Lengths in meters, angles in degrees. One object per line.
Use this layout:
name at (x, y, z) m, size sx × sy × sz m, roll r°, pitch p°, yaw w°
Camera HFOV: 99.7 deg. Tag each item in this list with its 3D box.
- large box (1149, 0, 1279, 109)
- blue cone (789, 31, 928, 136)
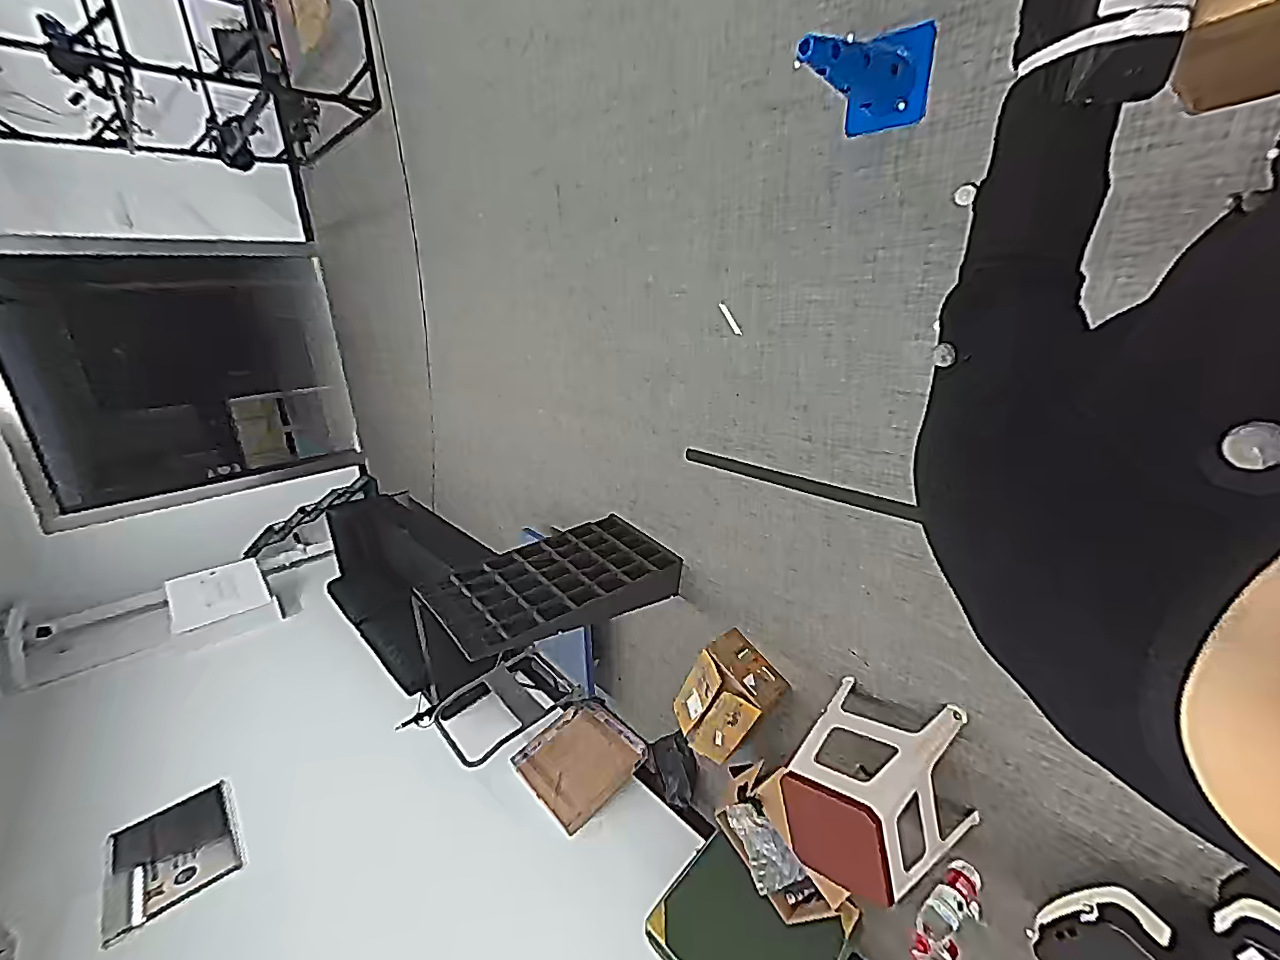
large box at (0.536, -0.444, 0.251) m, size 0.408 × 0.320 × 0.320 m, roll 10°, pitch 113°, yaw 46°
blue cone at (0.469, -0.919, 1.214) m, size 0.192 × 0.380 × 0.193 m, roll 24°, pitch 122°, yaw 45°
